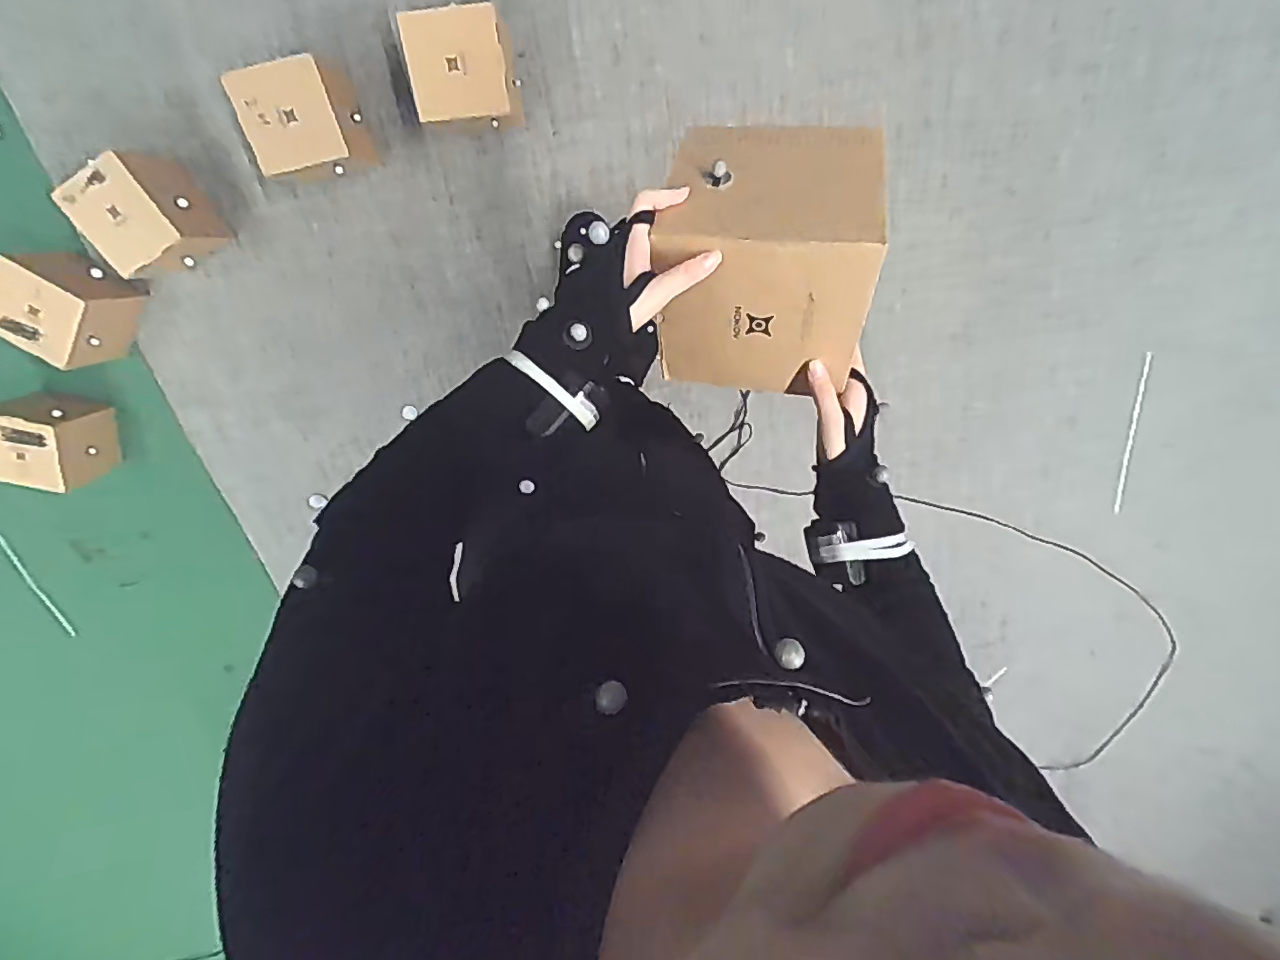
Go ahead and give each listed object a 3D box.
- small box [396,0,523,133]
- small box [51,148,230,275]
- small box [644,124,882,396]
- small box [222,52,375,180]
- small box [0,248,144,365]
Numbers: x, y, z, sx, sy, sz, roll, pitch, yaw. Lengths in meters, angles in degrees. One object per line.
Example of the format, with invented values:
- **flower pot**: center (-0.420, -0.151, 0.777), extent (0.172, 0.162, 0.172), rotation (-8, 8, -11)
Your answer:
- **small box**: center (-0.338, -0.788, 1.048), extent (0.179, 0.176, 0.168), rotation (-7, 115, -1)
- **small box**: center (-1.016, -0.552, 1.122), extent (0.168, 0.176, 0.179), rotation (-26, 113, 9)
- **small box**: center (0.112, -0.204, 0.505), extent (0.179, 0.176, 0.168), rotation (9, 149, 12)
- **small box**: center (-0.654, -0.707, 1.067), extent (0.179, 0.176, 0.168), rotation (-12, 114, 2)
- **small box**: center (-1.256, -0.384, 1.187), extent (0.168, 0.176, 0.179), rotation (33, 108, -16)
